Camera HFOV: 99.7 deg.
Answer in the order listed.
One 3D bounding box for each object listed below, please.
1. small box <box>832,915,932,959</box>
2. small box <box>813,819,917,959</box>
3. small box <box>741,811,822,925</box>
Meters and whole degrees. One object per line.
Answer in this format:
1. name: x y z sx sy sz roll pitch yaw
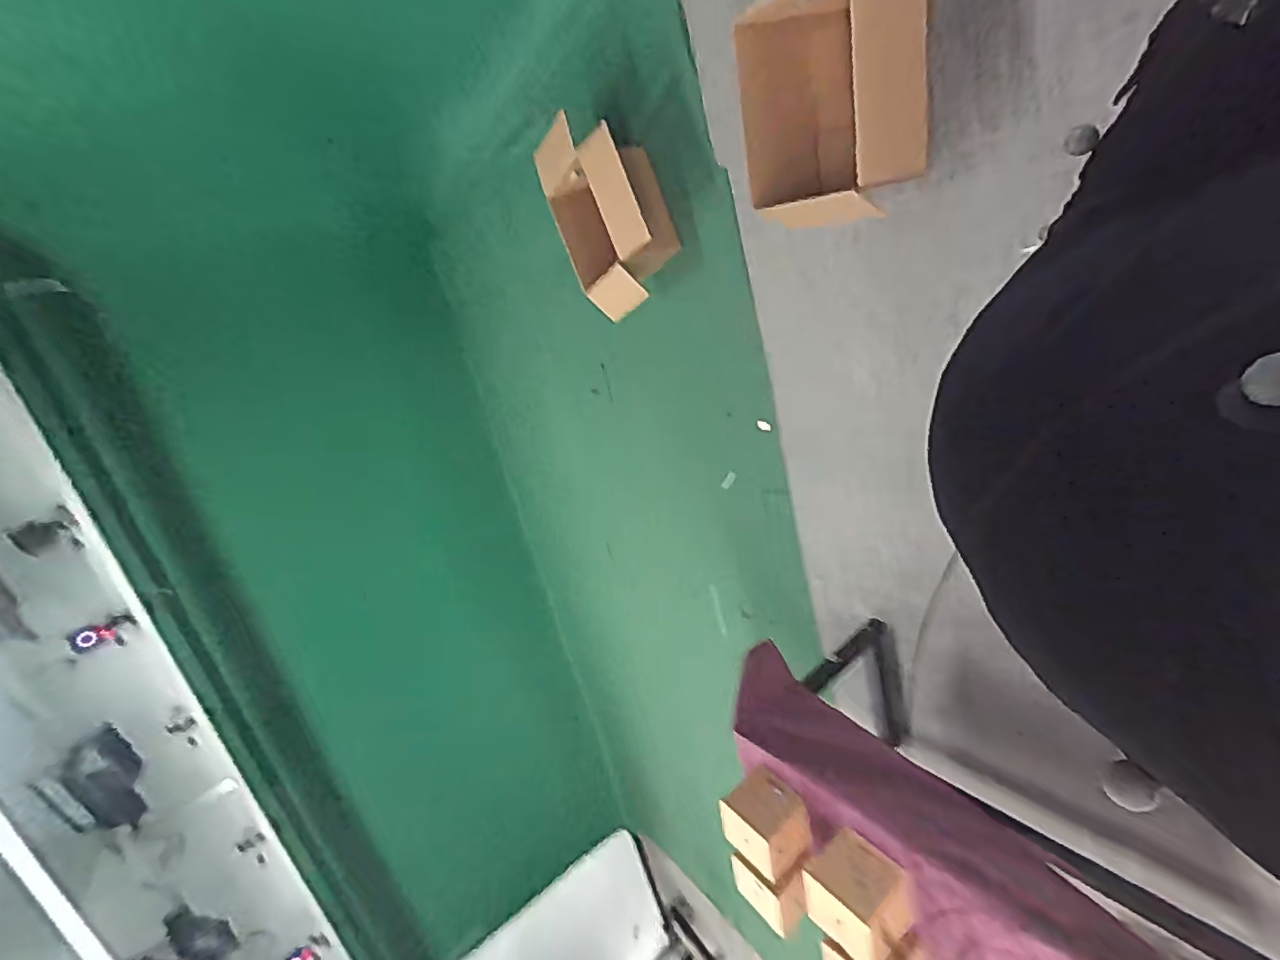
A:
1. small box: 0.606 1.172 1.342 0.168 0.176 0.179 11 121 54
2. small box: 0.539 0.965 1.289 0.168 0.176 0.179 15 124 52
3. small box: 0.425 1.137 1.595 0.168 0.176 0.179 17 127 51
